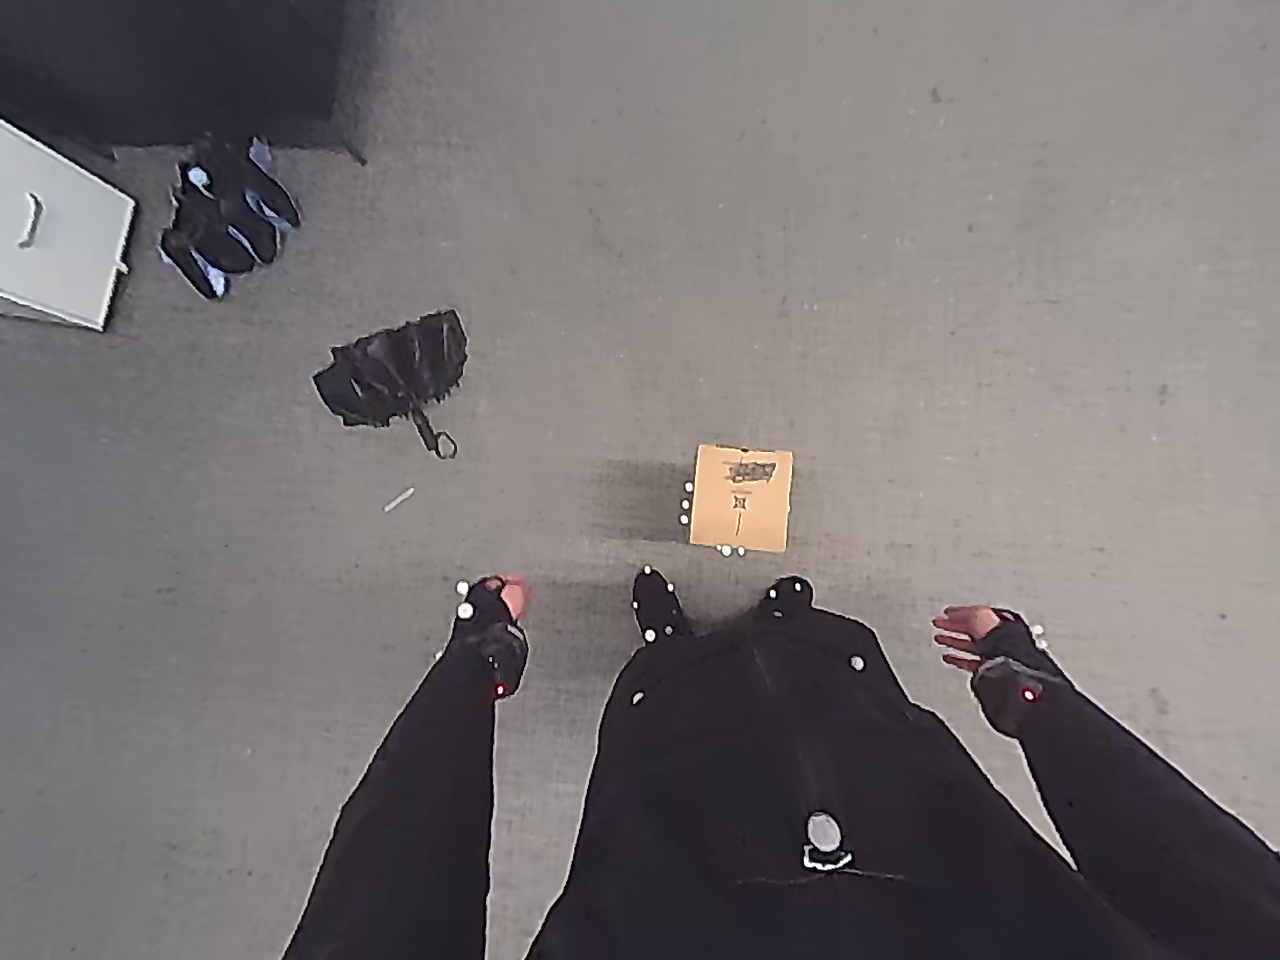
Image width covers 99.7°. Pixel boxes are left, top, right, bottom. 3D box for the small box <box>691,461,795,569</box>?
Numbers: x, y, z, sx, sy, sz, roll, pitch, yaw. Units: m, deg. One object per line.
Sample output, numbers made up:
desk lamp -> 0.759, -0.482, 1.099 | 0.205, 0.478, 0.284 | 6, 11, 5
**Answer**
small box -> 0.184, 0.066, 1.012 | 0.168, 0.176, 0.179 | 5, 86, 4
